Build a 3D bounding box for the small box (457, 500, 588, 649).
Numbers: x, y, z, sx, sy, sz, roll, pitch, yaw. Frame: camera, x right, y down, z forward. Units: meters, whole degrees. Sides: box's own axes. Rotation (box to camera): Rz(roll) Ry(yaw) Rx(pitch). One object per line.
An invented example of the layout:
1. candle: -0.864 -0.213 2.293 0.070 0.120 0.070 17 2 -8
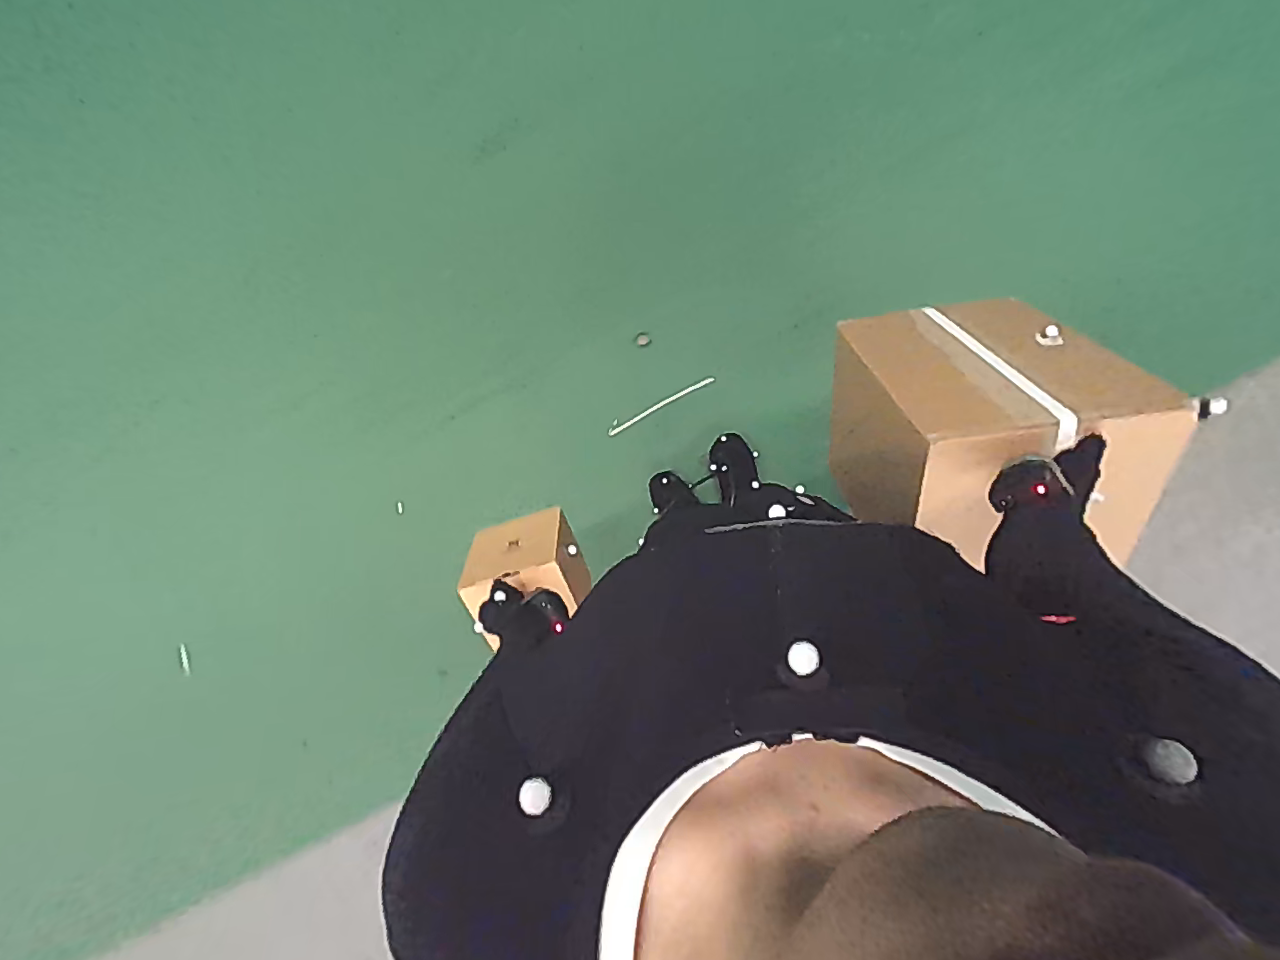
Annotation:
1. small box: -0.196 0.164 0.958 0.168 0.179 0.176 -16 118 4
